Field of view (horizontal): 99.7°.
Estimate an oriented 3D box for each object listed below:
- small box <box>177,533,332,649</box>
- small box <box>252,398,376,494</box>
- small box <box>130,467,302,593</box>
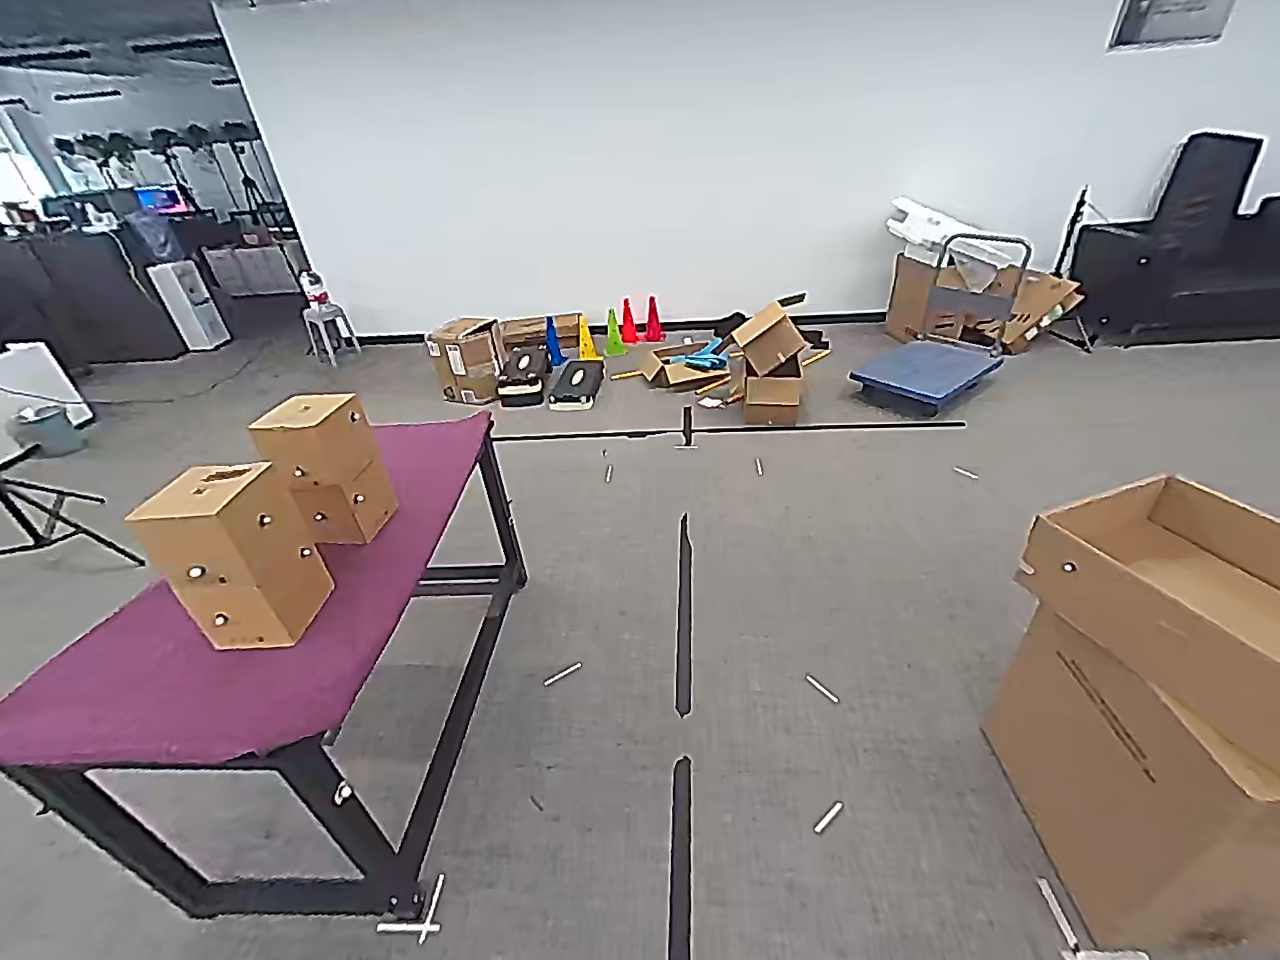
[{"bbox_3d":[-0.773,0.232,1.112,0.168,0.176,0.179,-4,32,2],"label":"small box"},{"bbox_3d":[-0.760,-0.082,1.288,0.168,0.176,0.179,-1,33,8],"label":"small box"},{"bbox_3d":[-0.780,0.092,1.024,0.168,0.176,0.179,-4,33,2],"label":"small box"}]
